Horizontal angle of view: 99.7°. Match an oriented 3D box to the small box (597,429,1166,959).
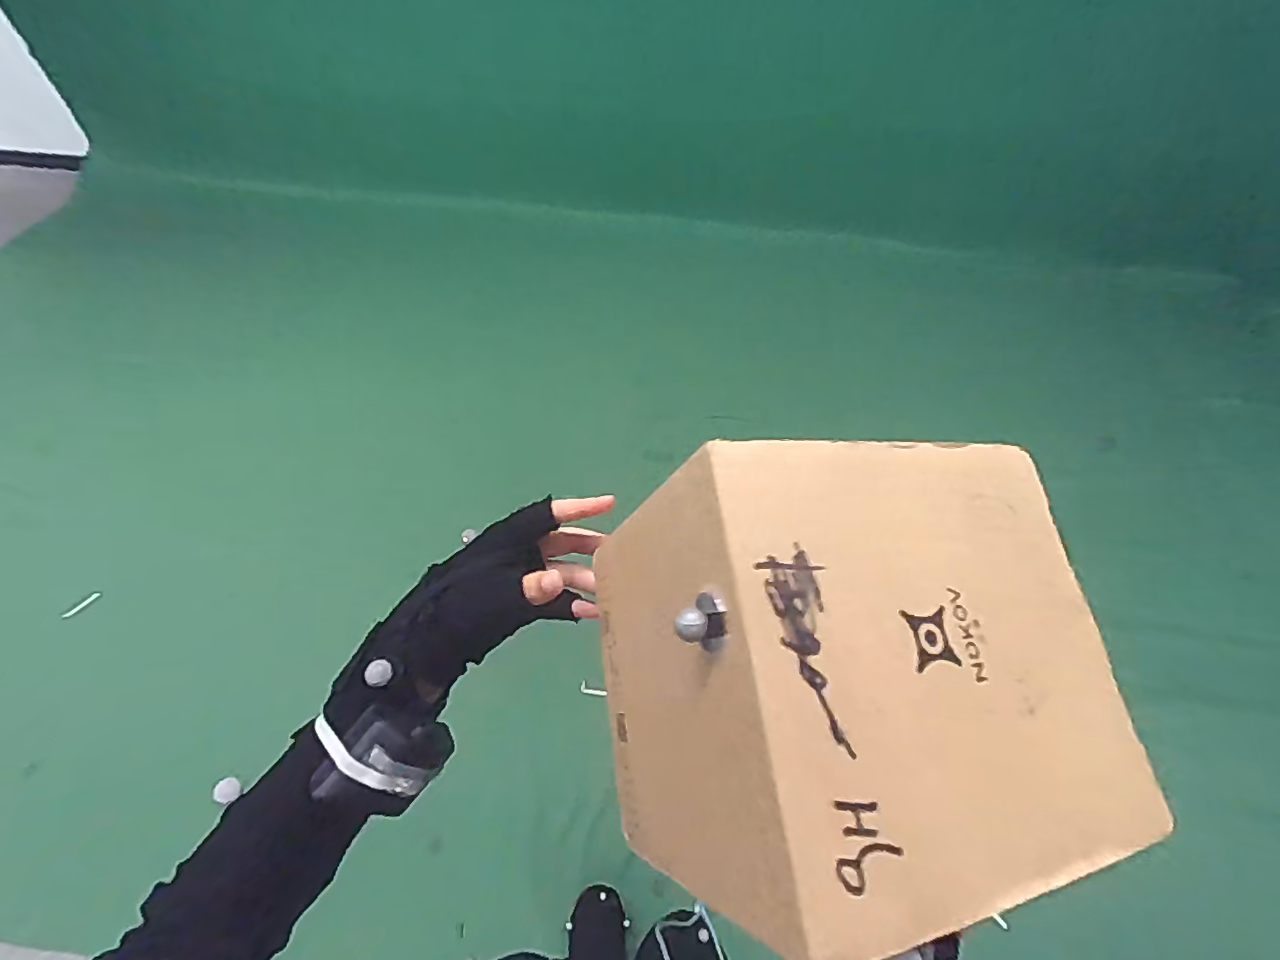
[{"bbox_3d":[0.091,0.088,0.276,0.179,0.176,0.168,1,68,-23],"label":"small box"}]
